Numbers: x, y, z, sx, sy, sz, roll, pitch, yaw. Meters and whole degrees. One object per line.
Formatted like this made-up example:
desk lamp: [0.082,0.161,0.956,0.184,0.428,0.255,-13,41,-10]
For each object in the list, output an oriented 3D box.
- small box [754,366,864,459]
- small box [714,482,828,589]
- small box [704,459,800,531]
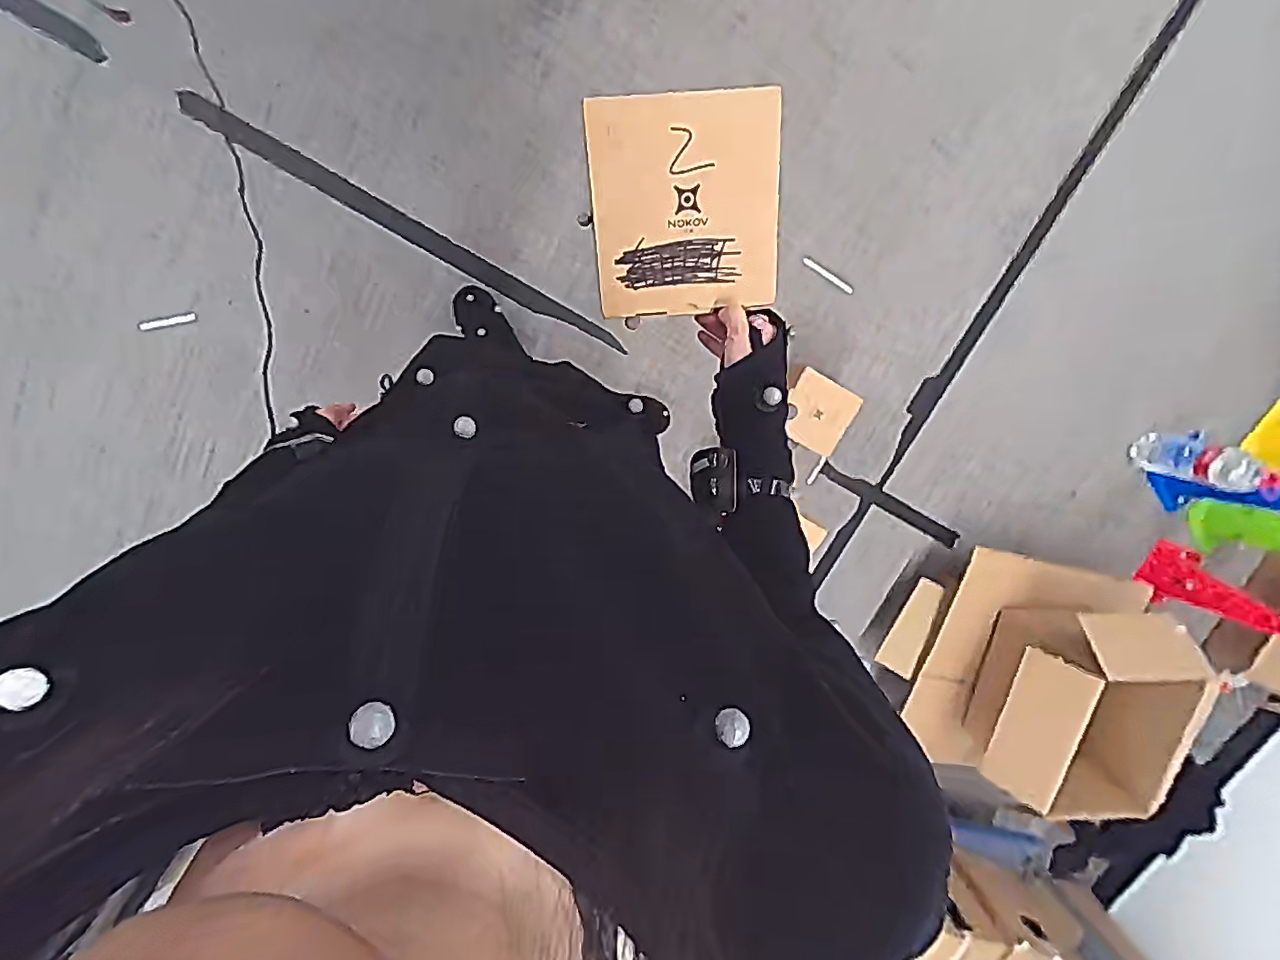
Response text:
small box: [0.418,-0.179,1.375,0.179,0.176,0.168,25,103,-15]
small box: [0.299,0.122,1.283,0.179,0.176,0.168,30,102,-16]
small box: [0.286,0.072,1.440,0.168,0.176,0.179,32,102,-15]
